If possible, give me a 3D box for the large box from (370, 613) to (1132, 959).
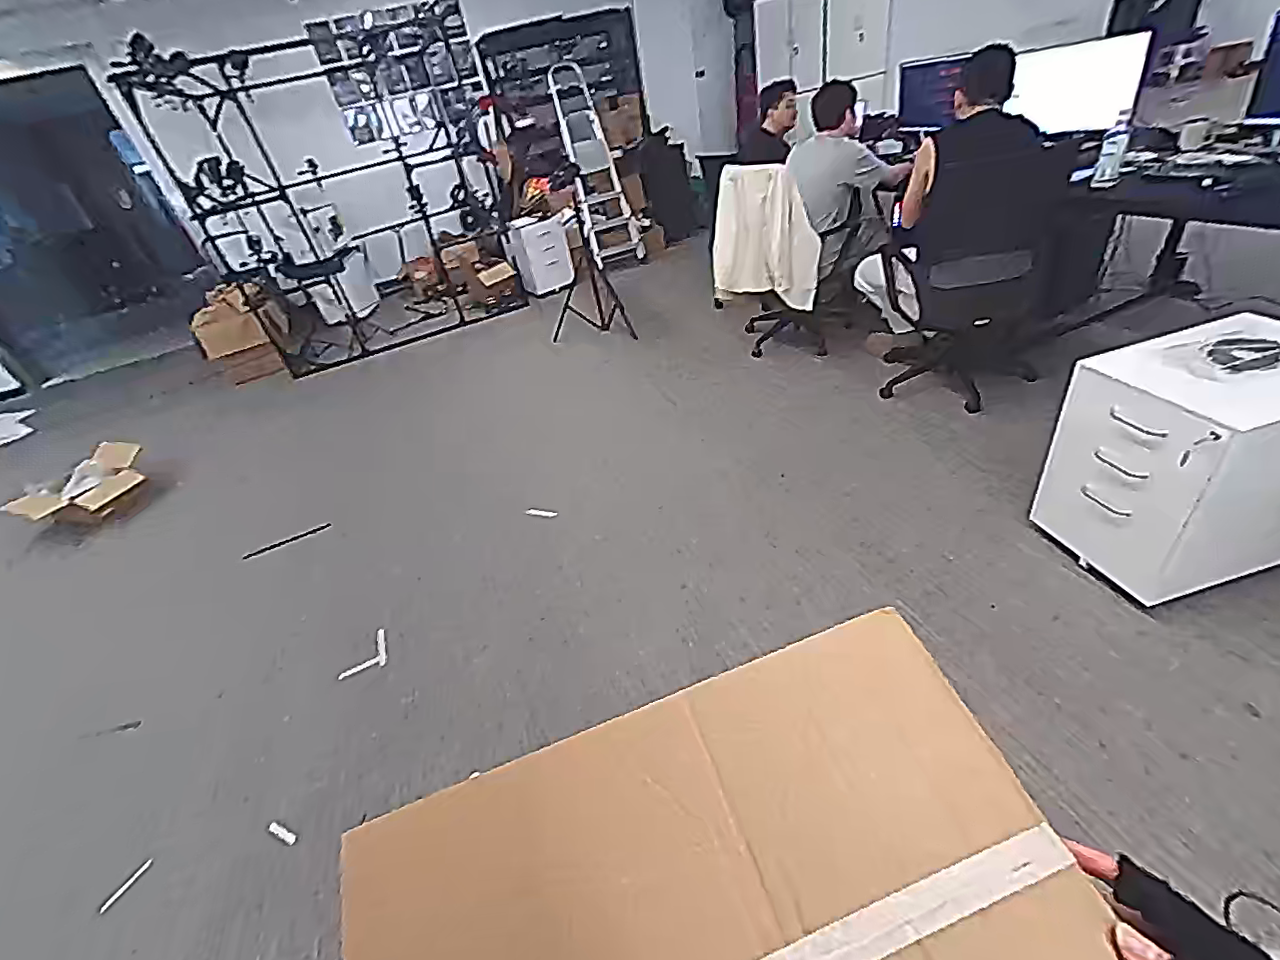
[{"bbox_3d":[0.072,0.366,0.413,0.408,0.320,0.320,-20,55,-6],"label":"large box"}]
